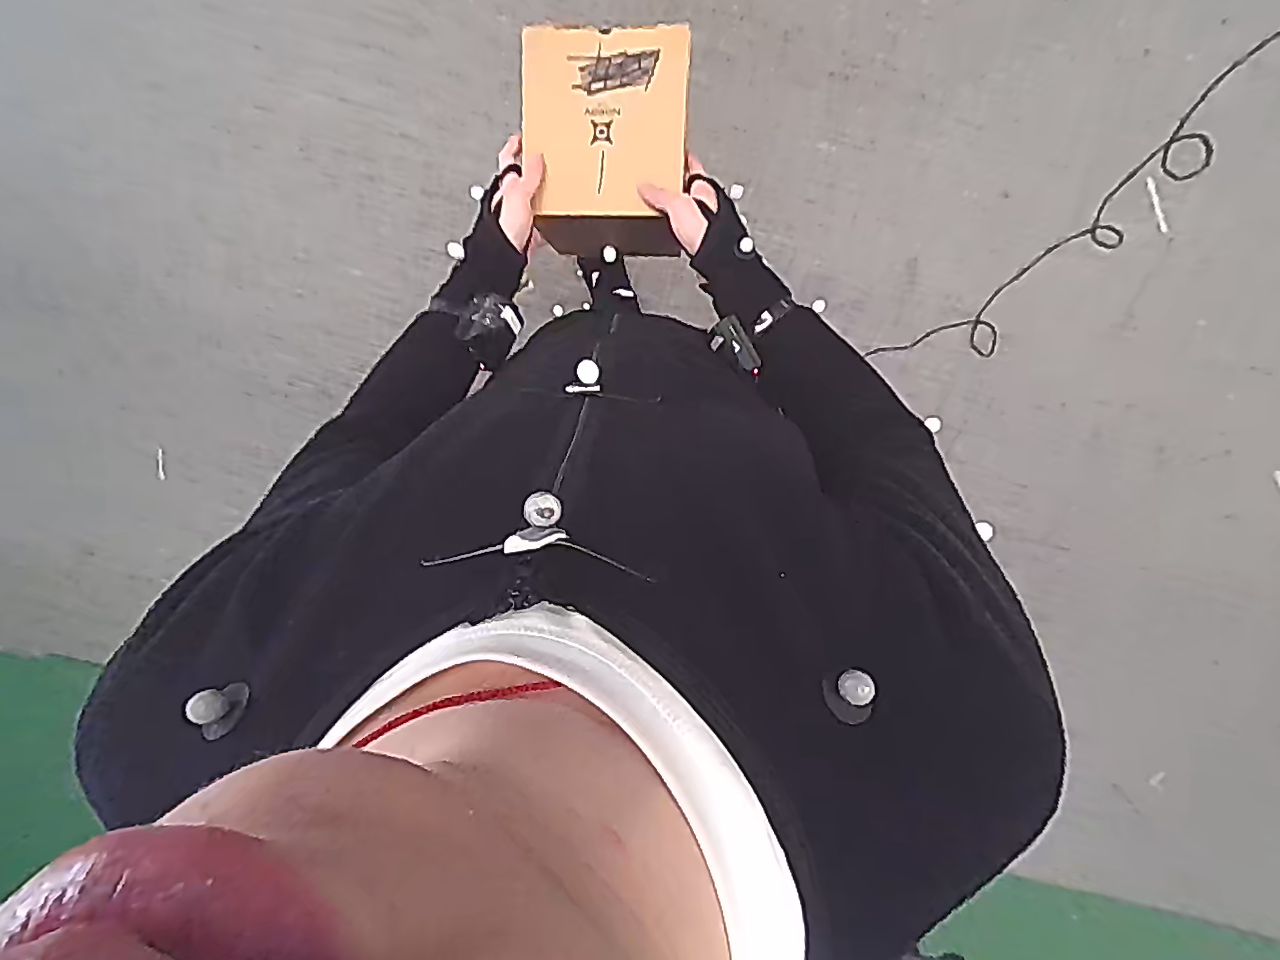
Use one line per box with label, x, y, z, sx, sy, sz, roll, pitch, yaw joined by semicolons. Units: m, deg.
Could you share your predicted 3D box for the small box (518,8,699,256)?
small box;-0.028;-0.370;0.604;0.168;0.176;0.179;6;99;4
